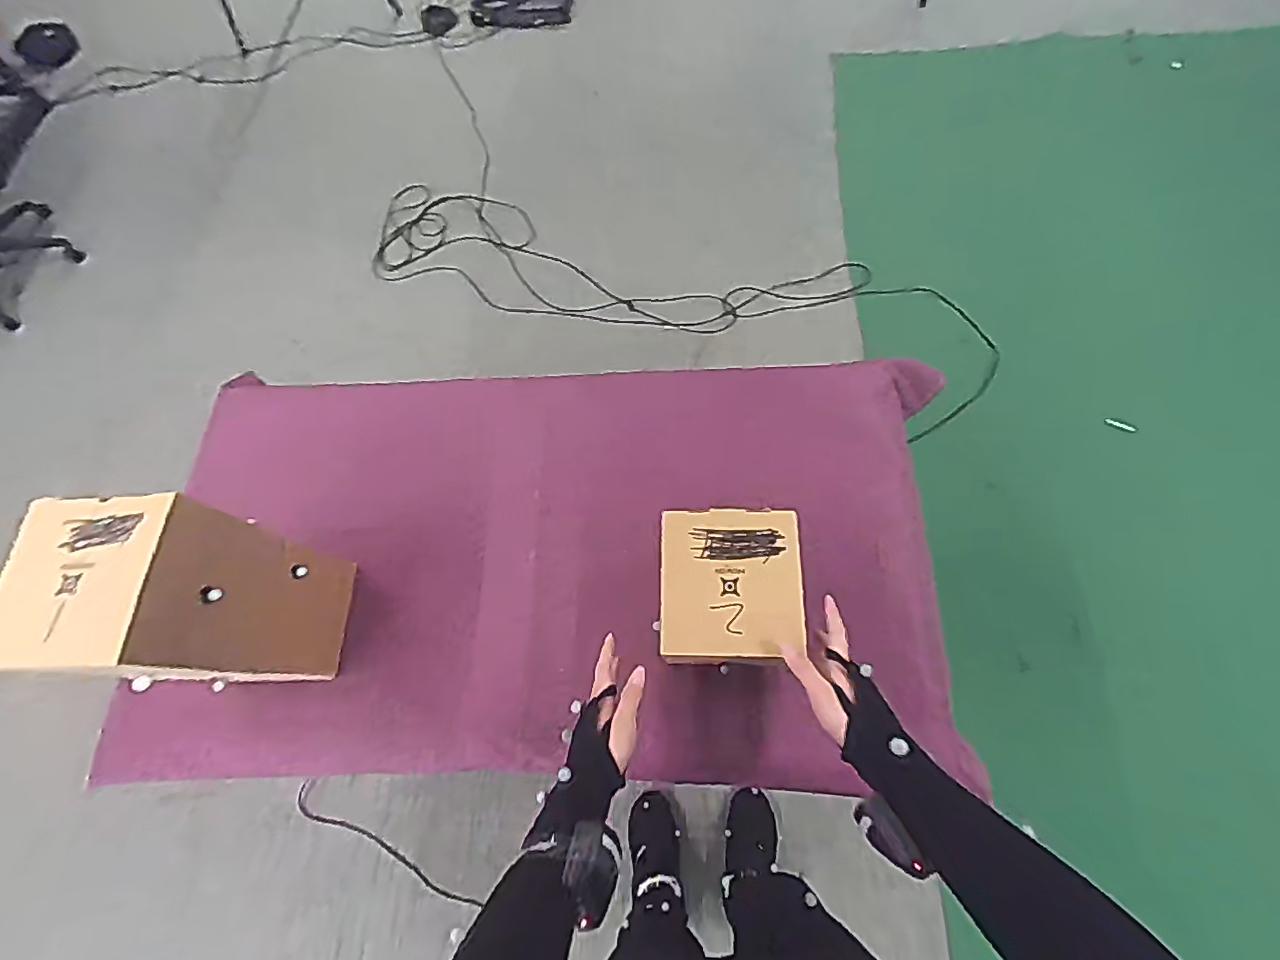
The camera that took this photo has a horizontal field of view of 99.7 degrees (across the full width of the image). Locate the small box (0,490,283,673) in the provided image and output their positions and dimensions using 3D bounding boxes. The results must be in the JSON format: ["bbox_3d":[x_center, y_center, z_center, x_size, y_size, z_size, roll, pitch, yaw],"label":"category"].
[{"bbox_3d":[-0.552,0.122,0.616,0.168,0.176,0.179,-2,68,6],"label":"small box"}]

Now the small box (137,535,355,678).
[{"bbox_3d":[-0.537,0.186,0.766,0.168,0.176,0.179,-2,67,5],"label":"small box"}]
